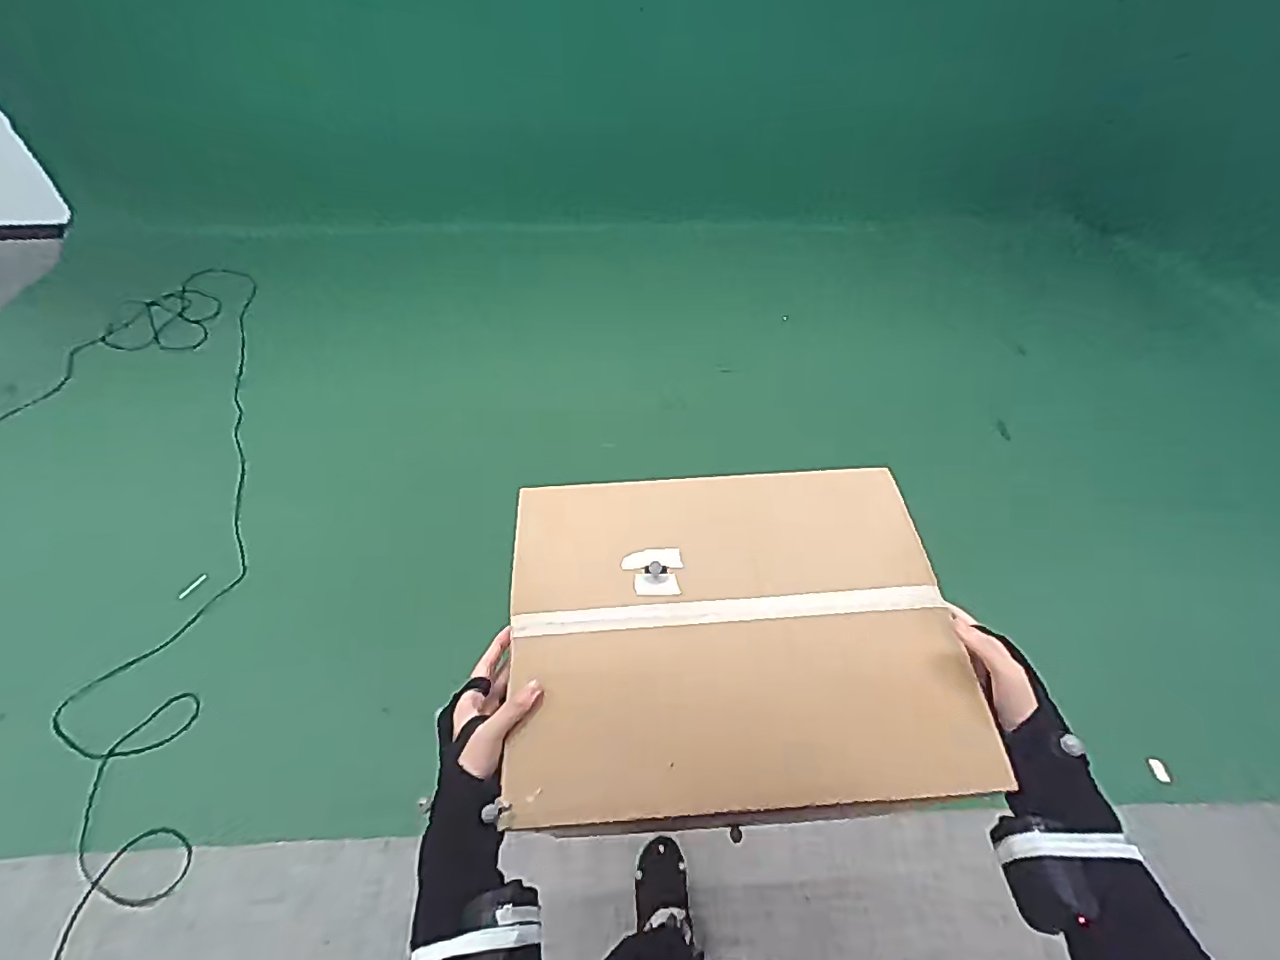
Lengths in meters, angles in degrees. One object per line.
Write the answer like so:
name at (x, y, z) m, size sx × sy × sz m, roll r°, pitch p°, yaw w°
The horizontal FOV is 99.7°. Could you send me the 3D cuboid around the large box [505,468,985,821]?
large box at (0.083, 0.209, 0.643) m, size 0.408 × 0.320 × 0.320 m, roll -4°, pitch 56°, yaw -1°
